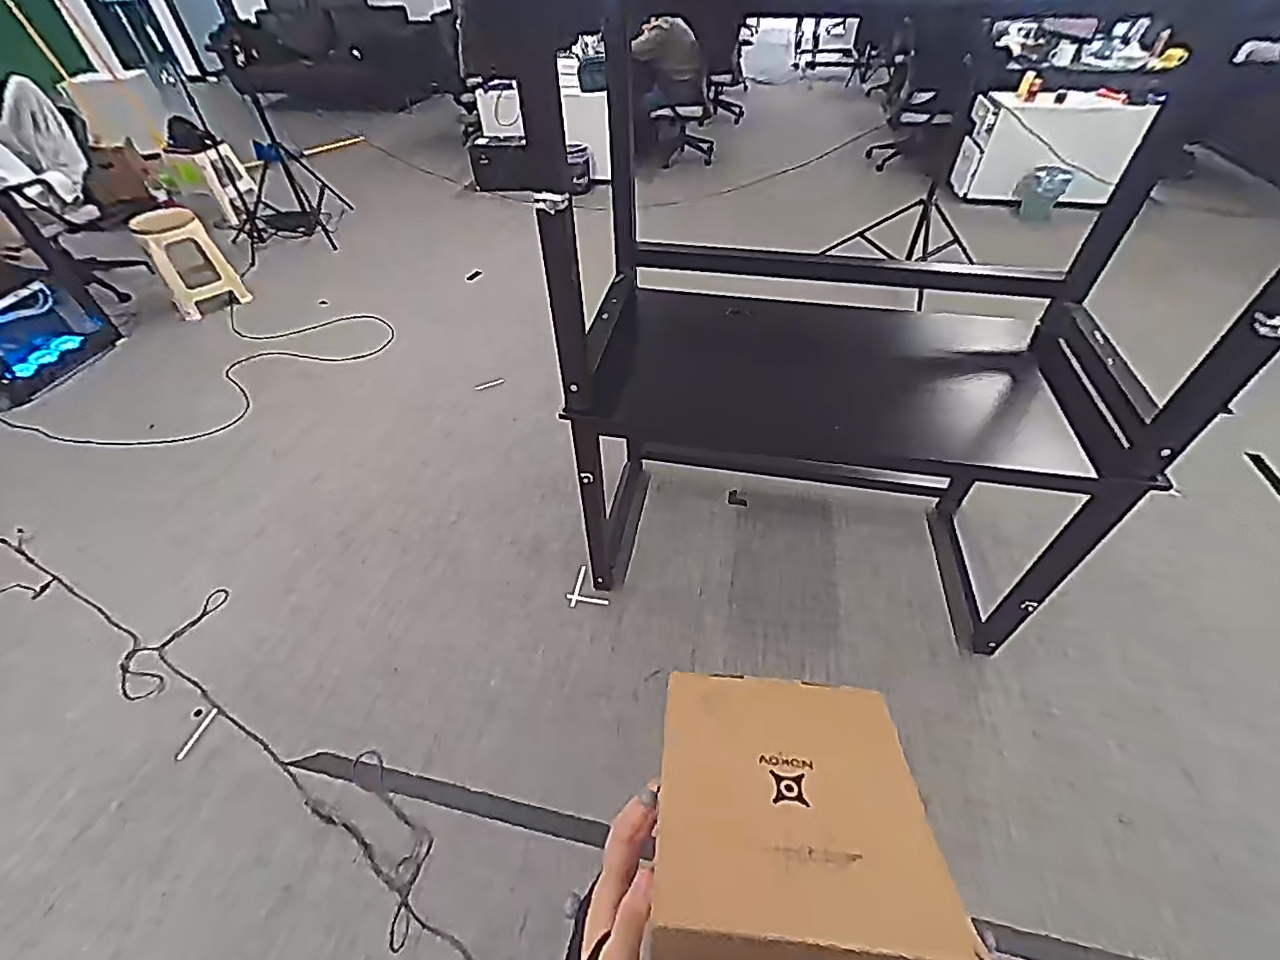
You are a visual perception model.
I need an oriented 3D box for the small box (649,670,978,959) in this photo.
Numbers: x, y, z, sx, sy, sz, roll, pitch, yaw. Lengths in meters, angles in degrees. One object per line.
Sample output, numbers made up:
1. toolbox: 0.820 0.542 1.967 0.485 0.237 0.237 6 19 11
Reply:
1. small box: 0.095 0.268 0.385 0.168 0.176 0.179 3 28 5
